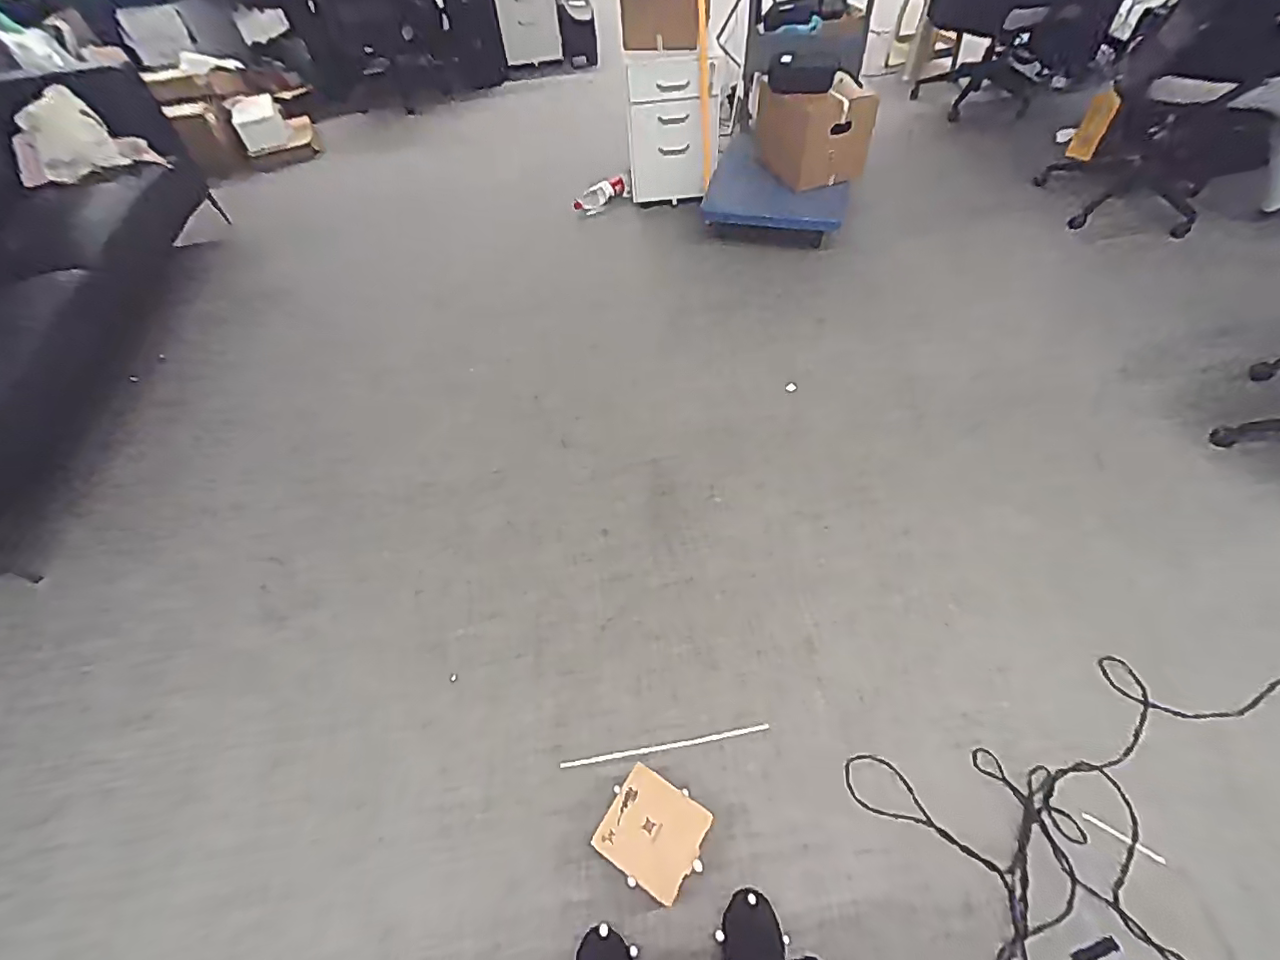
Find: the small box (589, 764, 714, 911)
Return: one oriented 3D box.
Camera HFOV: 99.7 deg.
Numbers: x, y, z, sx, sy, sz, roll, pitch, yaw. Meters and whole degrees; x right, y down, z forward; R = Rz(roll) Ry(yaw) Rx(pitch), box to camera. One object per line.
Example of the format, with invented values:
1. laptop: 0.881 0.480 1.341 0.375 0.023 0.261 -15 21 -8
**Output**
1. small box: 0.028 0.692 1.056 0.179 0.176 0.168 26 60 22
